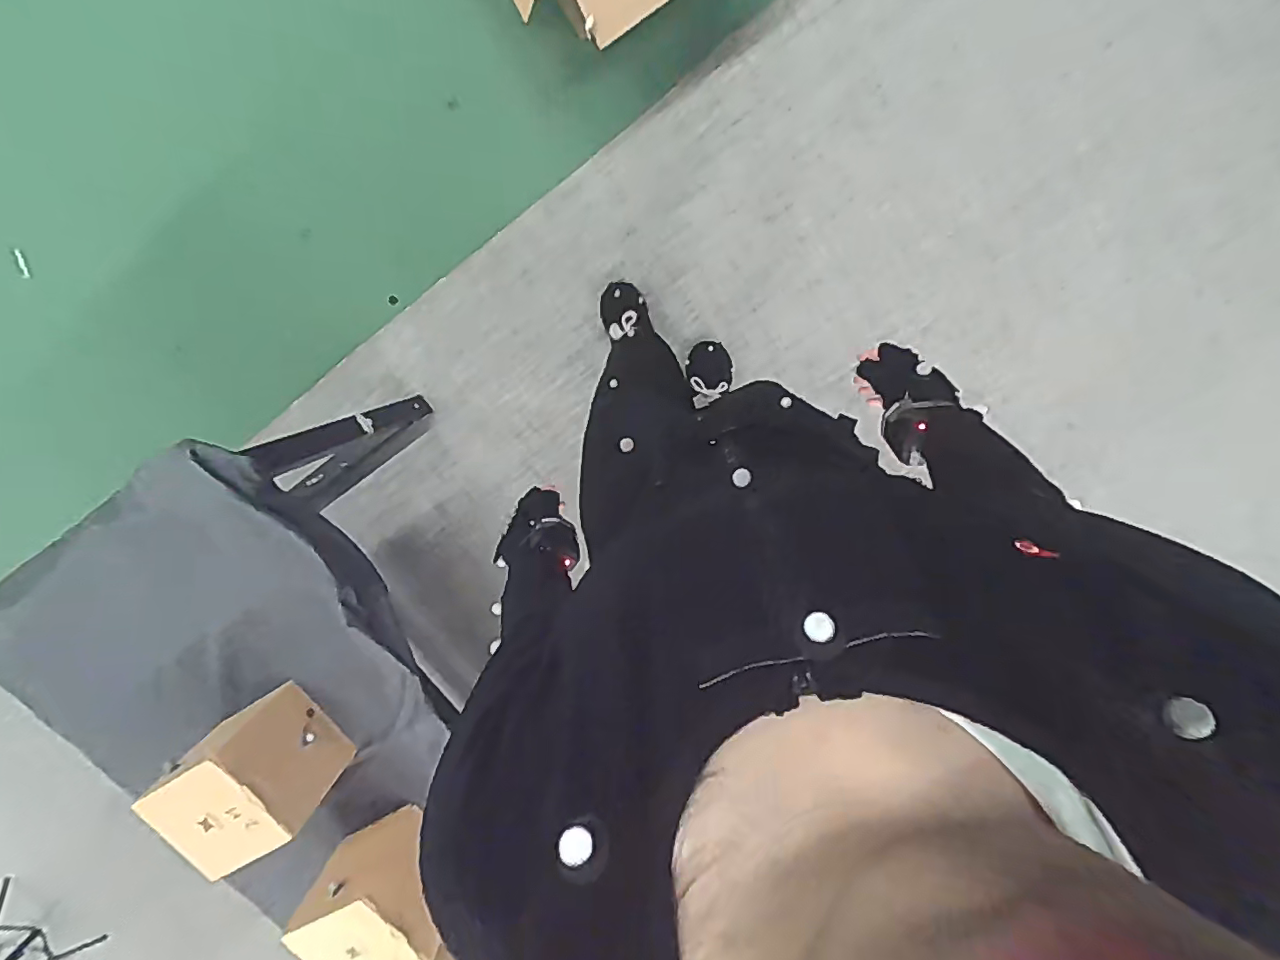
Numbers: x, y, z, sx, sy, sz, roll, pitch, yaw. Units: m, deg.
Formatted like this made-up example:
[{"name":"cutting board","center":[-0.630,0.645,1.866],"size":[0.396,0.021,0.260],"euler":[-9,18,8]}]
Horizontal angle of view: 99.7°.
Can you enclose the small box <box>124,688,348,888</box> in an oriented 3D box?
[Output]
[{"name":"small box","center":[-0.597,0.459,0.824],"size":[0.179,0.176,0.168],"euler":[-31,103,11]}]

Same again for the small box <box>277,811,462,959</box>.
[{"name":"small box","center":[-0.429,0.697,0.889],"size":[0.179,0.176,0.168],"euler":[-32,102,11]}]
